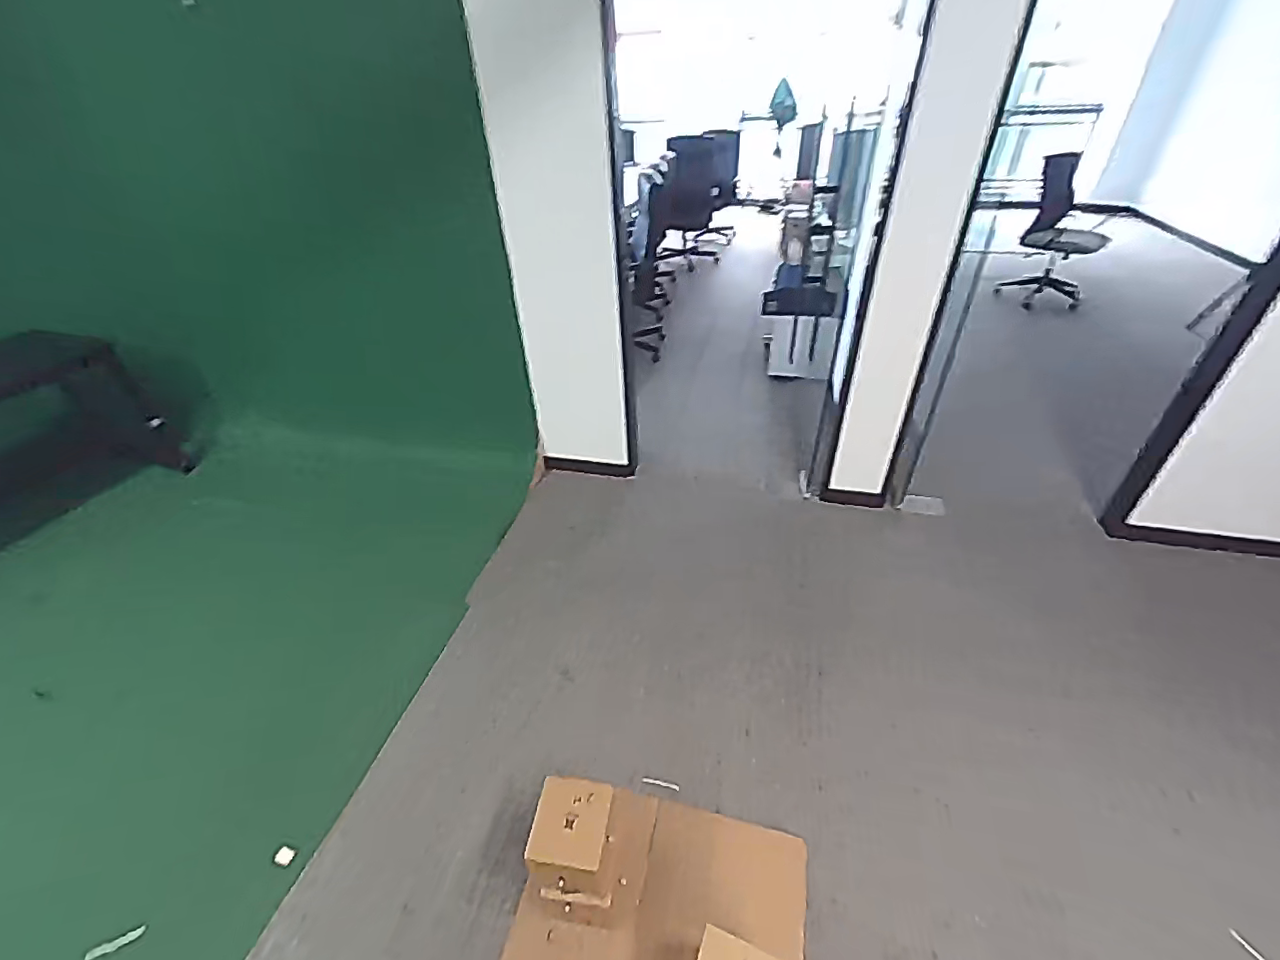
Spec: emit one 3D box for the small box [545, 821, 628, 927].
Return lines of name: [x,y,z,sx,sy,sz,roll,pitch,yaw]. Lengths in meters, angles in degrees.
small box: [-0.124,0.960,1.334,0.168,0.176,0.179,4,37,8]

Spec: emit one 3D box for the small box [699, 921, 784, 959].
small box: [0.177,0.986,1.007,0.168,0.176,0.179,14,39,20]

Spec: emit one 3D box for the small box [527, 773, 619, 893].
small box: [-0.145,0.818,1.250,0.168,0.176,0.179,5,37,8]
